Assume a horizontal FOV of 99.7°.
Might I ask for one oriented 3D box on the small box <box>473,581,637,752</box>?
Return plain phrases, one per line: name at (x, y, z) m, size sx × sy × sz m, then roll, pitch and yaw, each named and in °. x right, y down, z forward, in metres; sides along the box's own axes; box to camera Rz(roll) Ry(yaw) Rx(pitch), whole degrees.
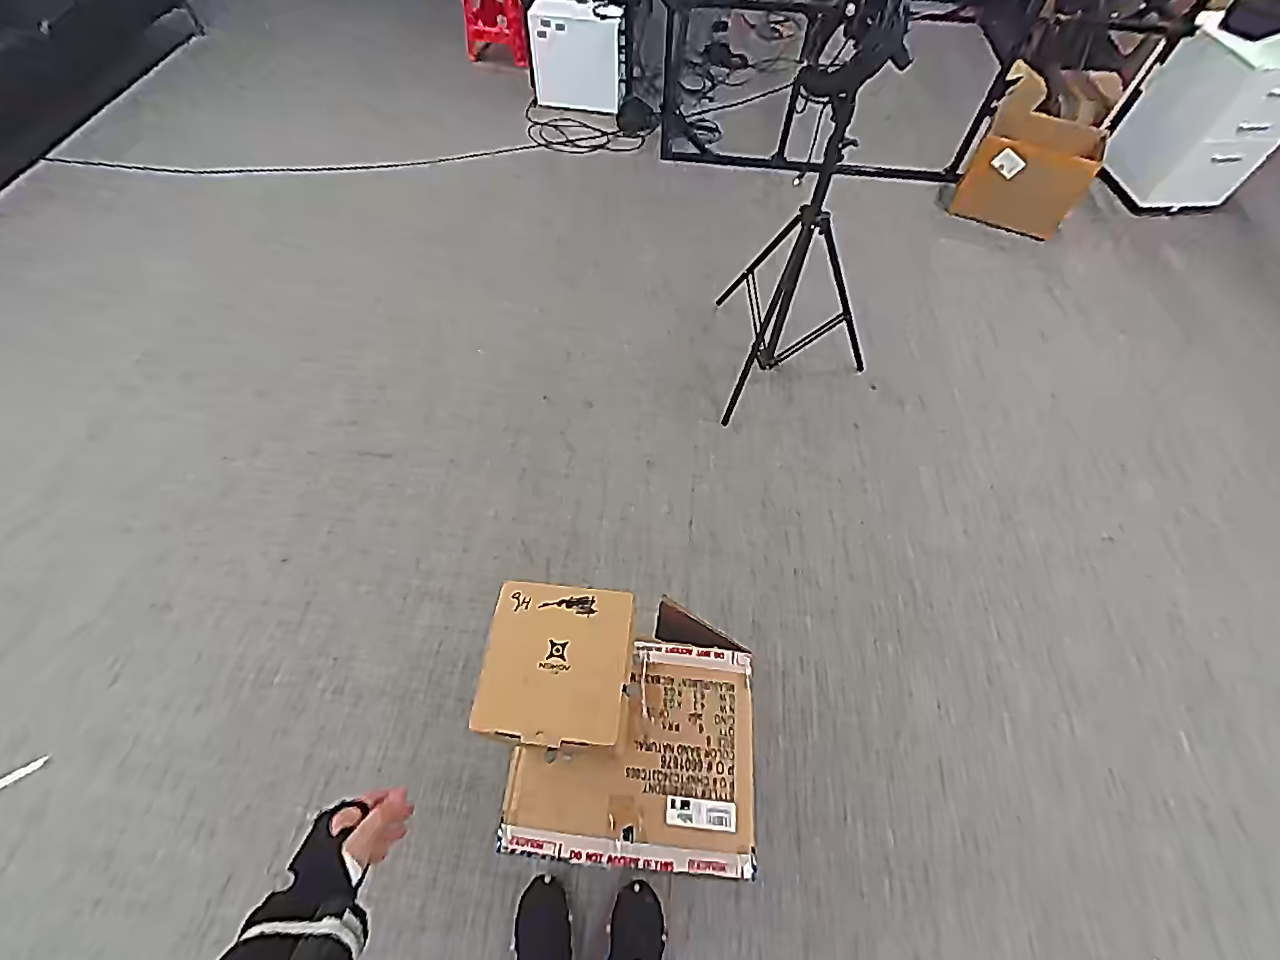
small box at (-0.094, 0.246, 0.699) m, size 0.168 × 0.176 × 0.179 m, roll 5°, pitch 61°, yaw 3°
